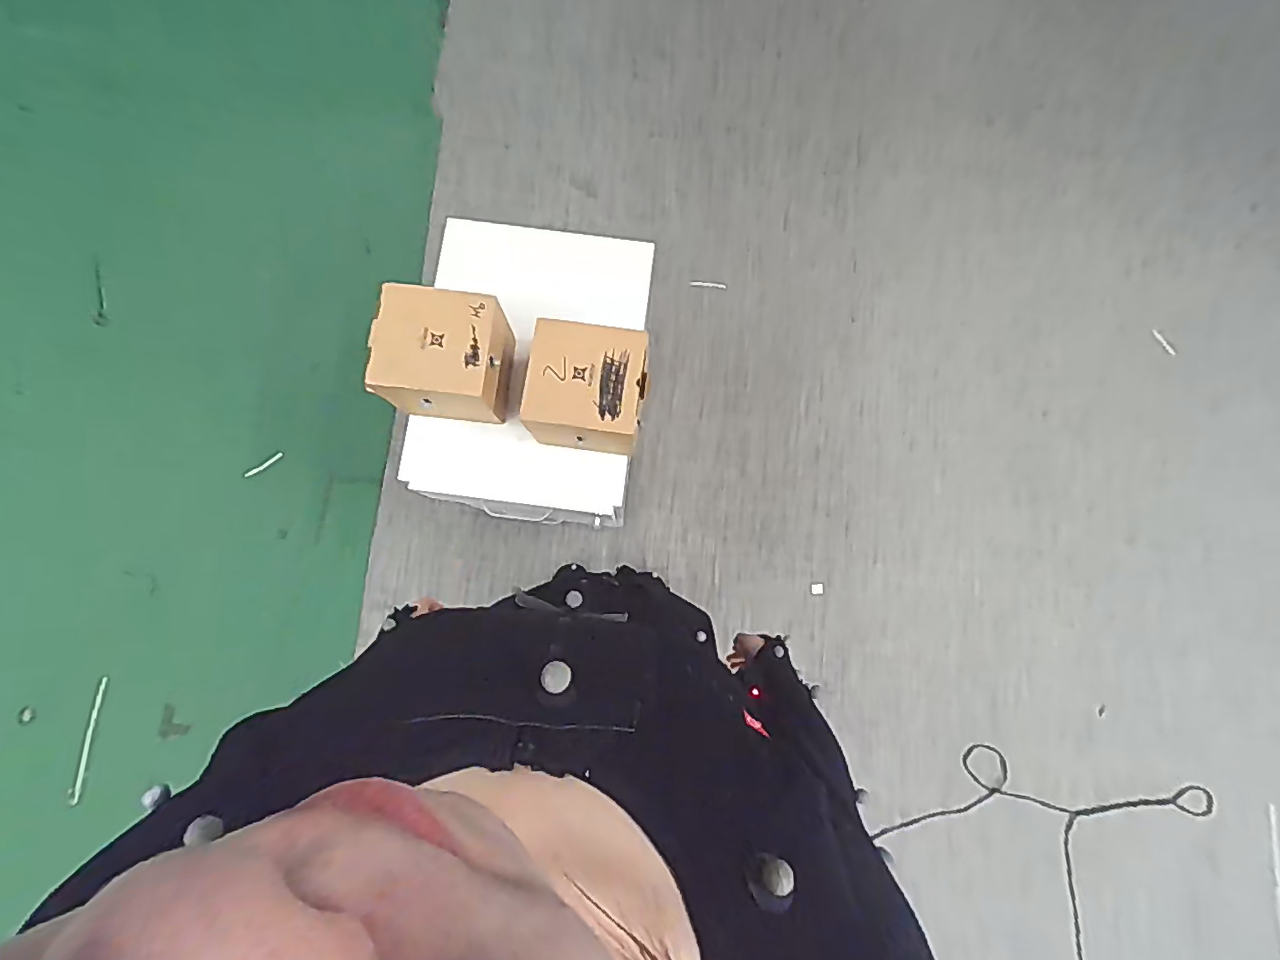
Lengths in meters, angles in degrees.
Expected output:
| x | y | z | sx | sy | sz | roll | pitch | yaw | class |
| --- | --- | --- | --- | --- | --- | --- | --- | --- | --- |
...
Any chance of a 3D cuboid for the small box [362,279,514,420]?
| x | y | z | sx | sy | sz | roll | pitch | yaw | class |
| --- | --- | --- | --- | --- | --- | --- | --- | --- | --- |
| -0.319 | -0.205 | 0.889 | 0.179 | 0.176 | 0.168 | 6 | 81 | -2 | small box |
